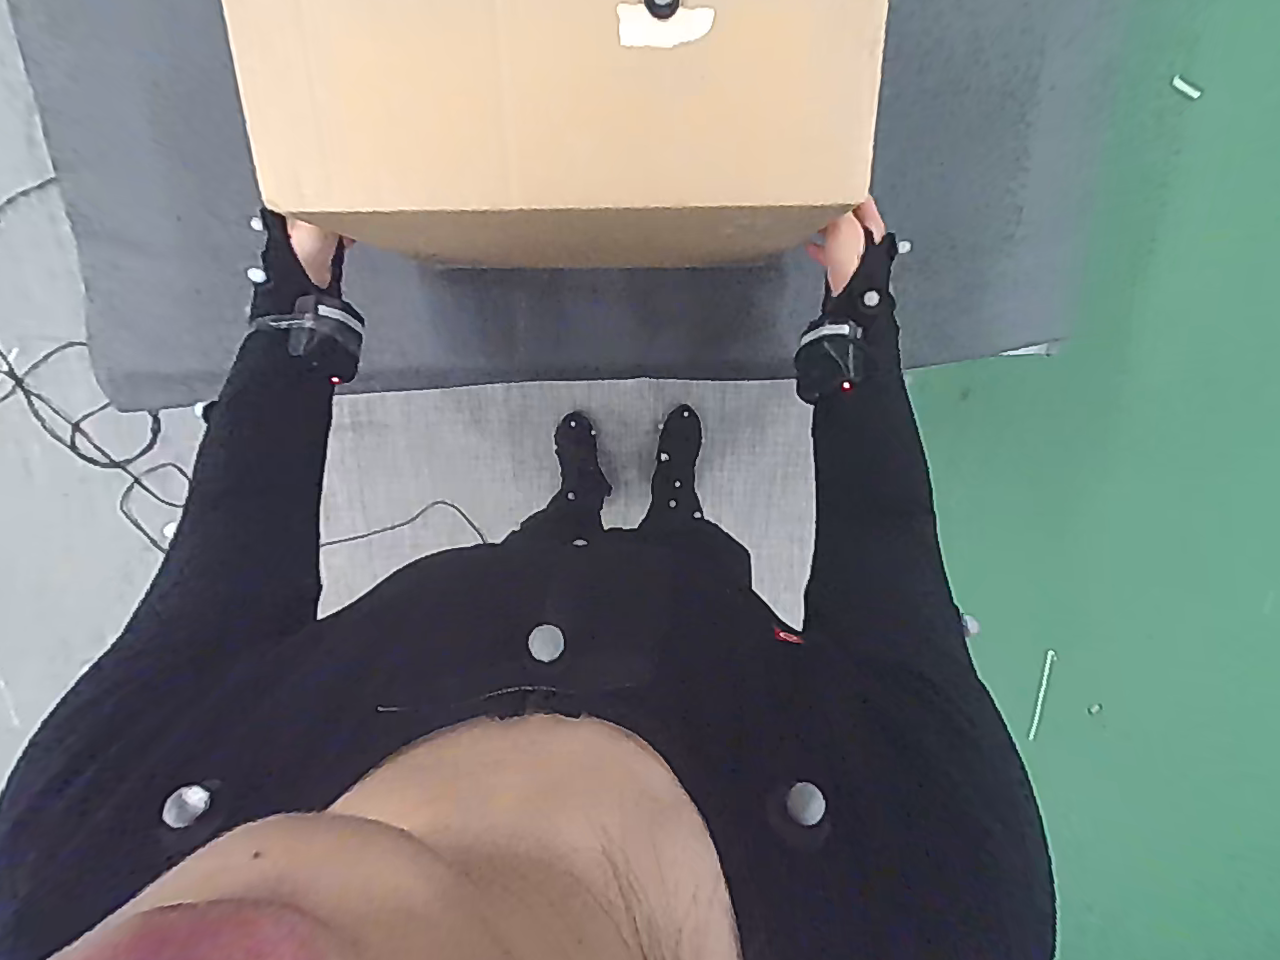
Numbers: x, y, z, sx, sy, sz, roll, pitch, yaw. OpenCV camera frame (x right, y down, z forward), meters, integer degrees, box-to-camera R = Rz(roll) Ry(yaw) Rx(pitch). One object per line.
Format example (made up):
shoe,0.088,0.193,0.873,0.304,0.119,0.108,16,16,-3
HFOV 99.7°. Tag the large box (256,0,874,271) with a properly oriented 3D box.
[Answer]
large box,-0.050,-0.375,0.483,0.408,0.320,0.320,-1,105,0
